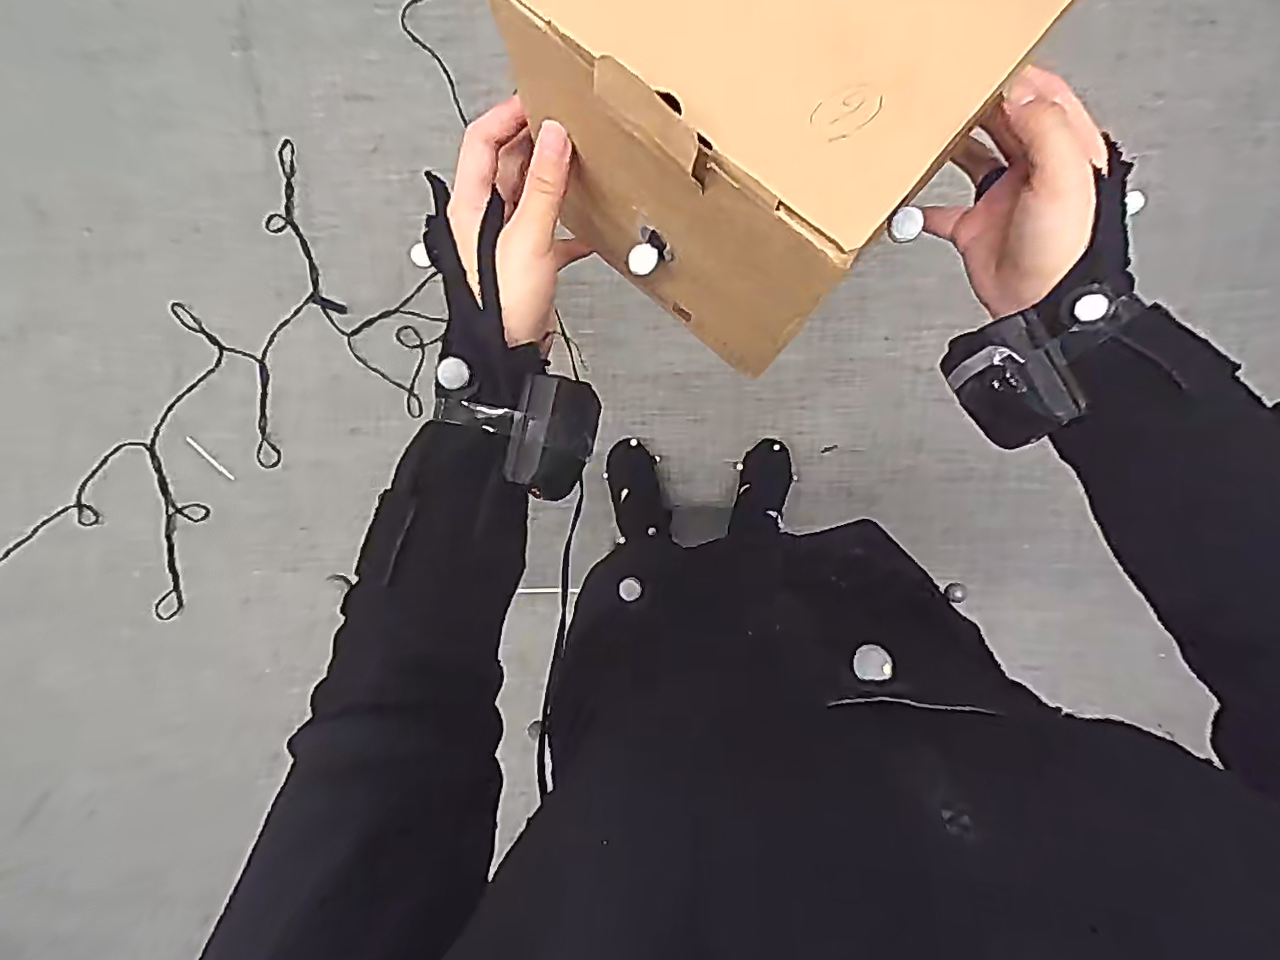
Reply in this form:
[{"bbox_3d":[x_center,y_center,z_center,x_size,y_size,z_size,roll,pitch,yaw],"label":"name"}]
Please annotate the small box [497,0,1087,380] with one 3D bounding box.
[{"bbox_3d":[0.064,-0.177,0.278,0.168,0.176,0.179,41,89,3],"label":"small box"}]
